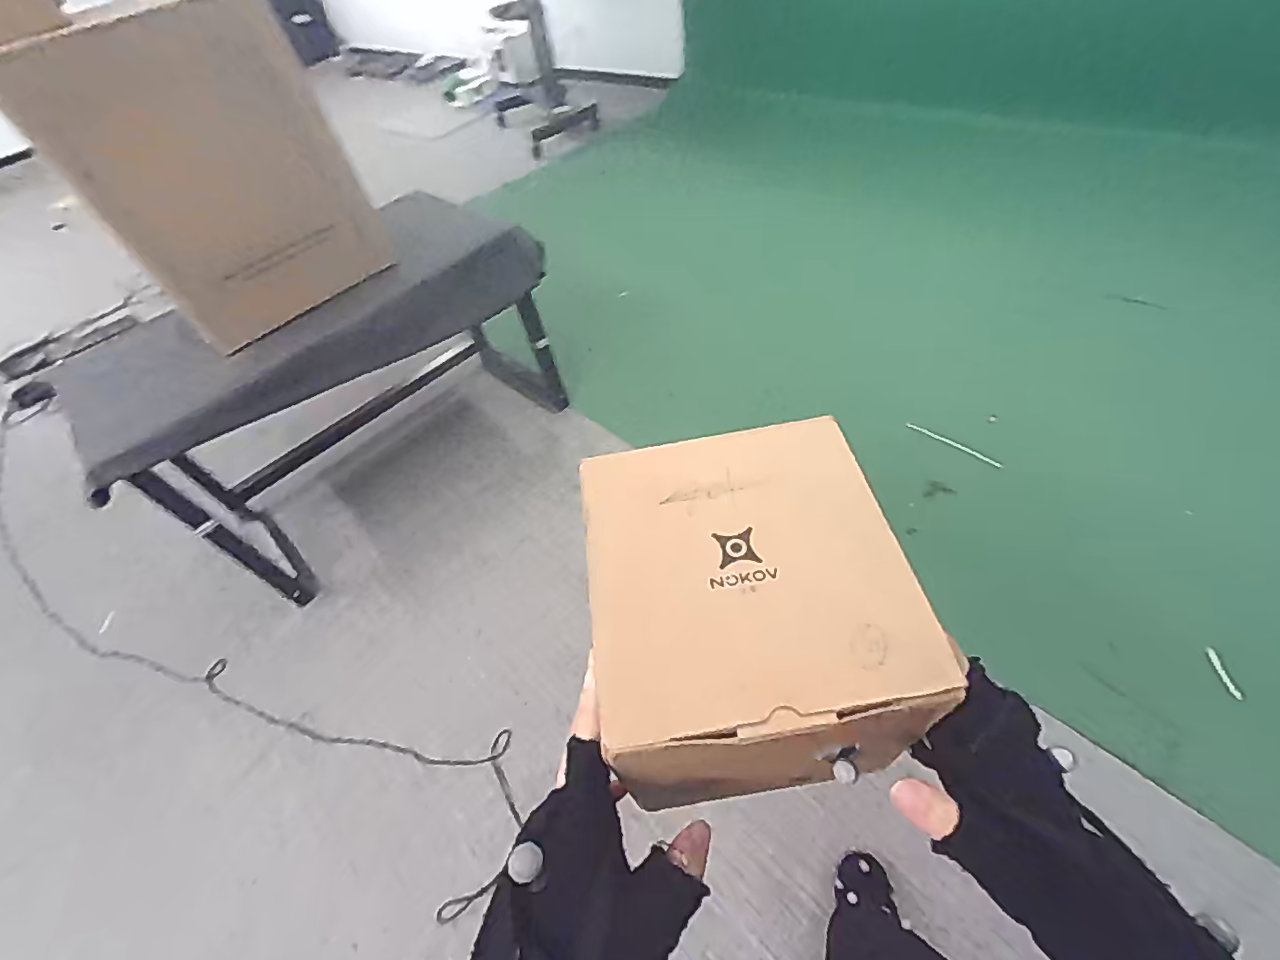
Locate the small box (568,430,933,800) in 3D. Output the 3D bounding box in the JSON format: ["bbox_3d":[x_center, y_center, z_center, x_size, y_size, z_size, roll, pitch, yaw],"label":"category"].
[{"bbox_3d":[0.054,0.097,0.360,0.168,0.176,0.179,-11,50,0],"label":"small box"}]

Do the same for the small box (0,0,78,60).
[{"bbox_3d":[-1.151,-0.863,0.945,0.168,0.176,0.179,31,62,28],"label":"small box"}]
